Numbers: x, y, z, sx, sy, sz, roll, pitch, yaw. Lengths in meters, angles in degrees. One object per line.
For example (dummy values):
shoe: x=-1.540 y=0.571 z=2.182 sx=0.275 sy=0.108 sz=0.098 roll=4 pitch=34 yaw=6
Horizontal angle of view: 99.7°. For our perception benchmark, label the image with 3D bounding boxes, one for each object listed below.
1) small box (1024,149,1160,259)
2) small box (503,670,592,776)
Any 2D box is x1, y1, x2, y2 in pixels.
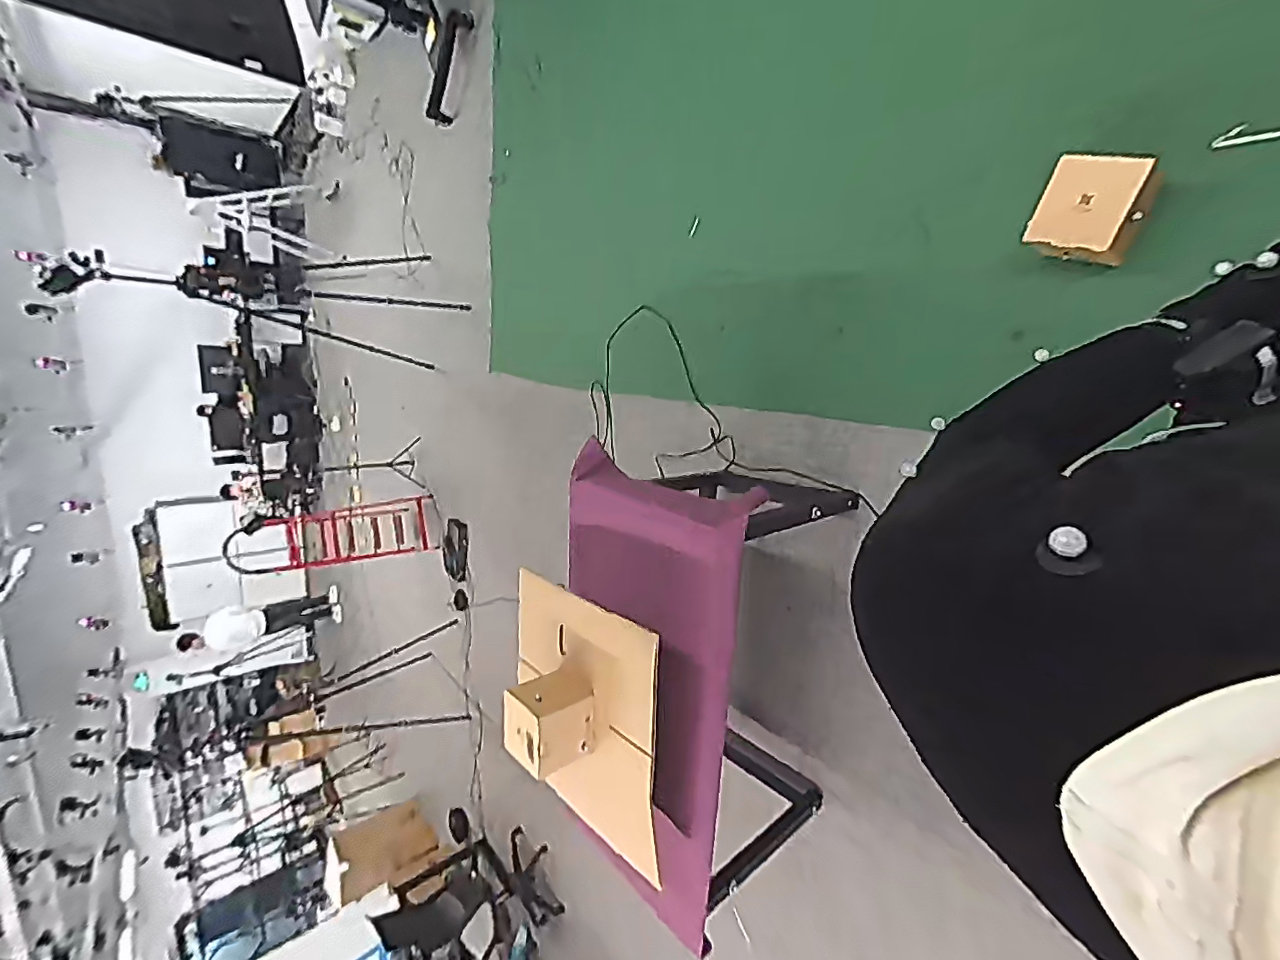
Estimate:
small box: x=0.998 y=-0.605 z=1.192 sx=0.168 sy=0.176 sz=0.179 roll=35 pitch=122 yaw=40
small box: x=-0.239 y=0.618 z=1.406 sx=0.179 sy=0.176 sz=0.168 roll=11 pitch=103 yaw=48
